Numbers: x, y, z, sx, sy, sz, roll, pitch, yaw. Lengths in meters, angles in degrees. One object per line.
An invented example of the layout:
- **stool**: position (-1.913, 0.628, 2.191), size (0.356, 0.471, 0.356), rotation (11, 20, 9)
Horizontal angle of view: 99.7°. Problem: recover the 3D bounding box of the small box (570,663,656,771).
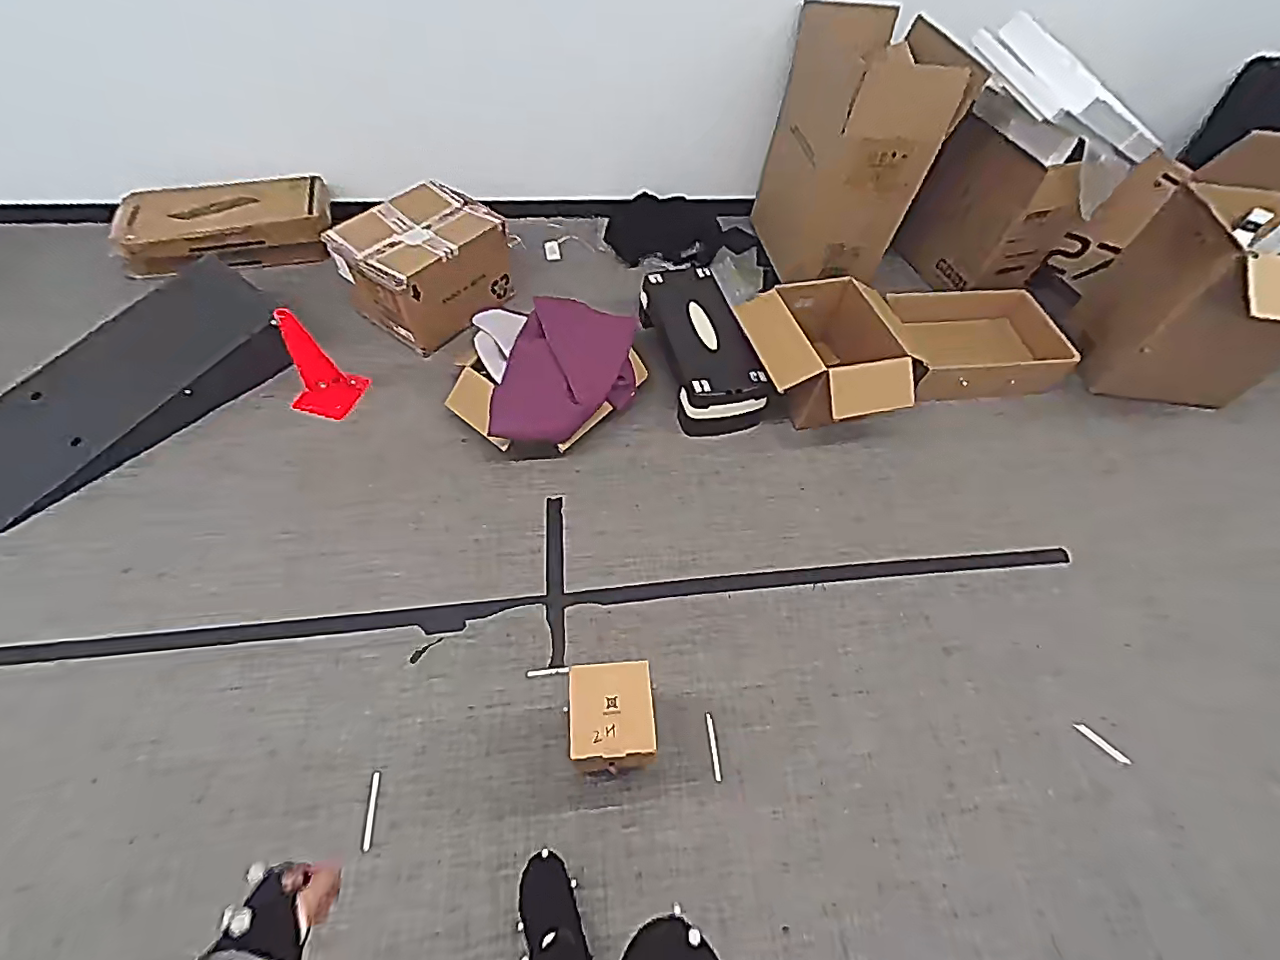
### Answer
- **small box**: position (-0.062, 0.498, 1.133), size (0.168, 0.176, 0.179), rotation (-3, 57, -5)
